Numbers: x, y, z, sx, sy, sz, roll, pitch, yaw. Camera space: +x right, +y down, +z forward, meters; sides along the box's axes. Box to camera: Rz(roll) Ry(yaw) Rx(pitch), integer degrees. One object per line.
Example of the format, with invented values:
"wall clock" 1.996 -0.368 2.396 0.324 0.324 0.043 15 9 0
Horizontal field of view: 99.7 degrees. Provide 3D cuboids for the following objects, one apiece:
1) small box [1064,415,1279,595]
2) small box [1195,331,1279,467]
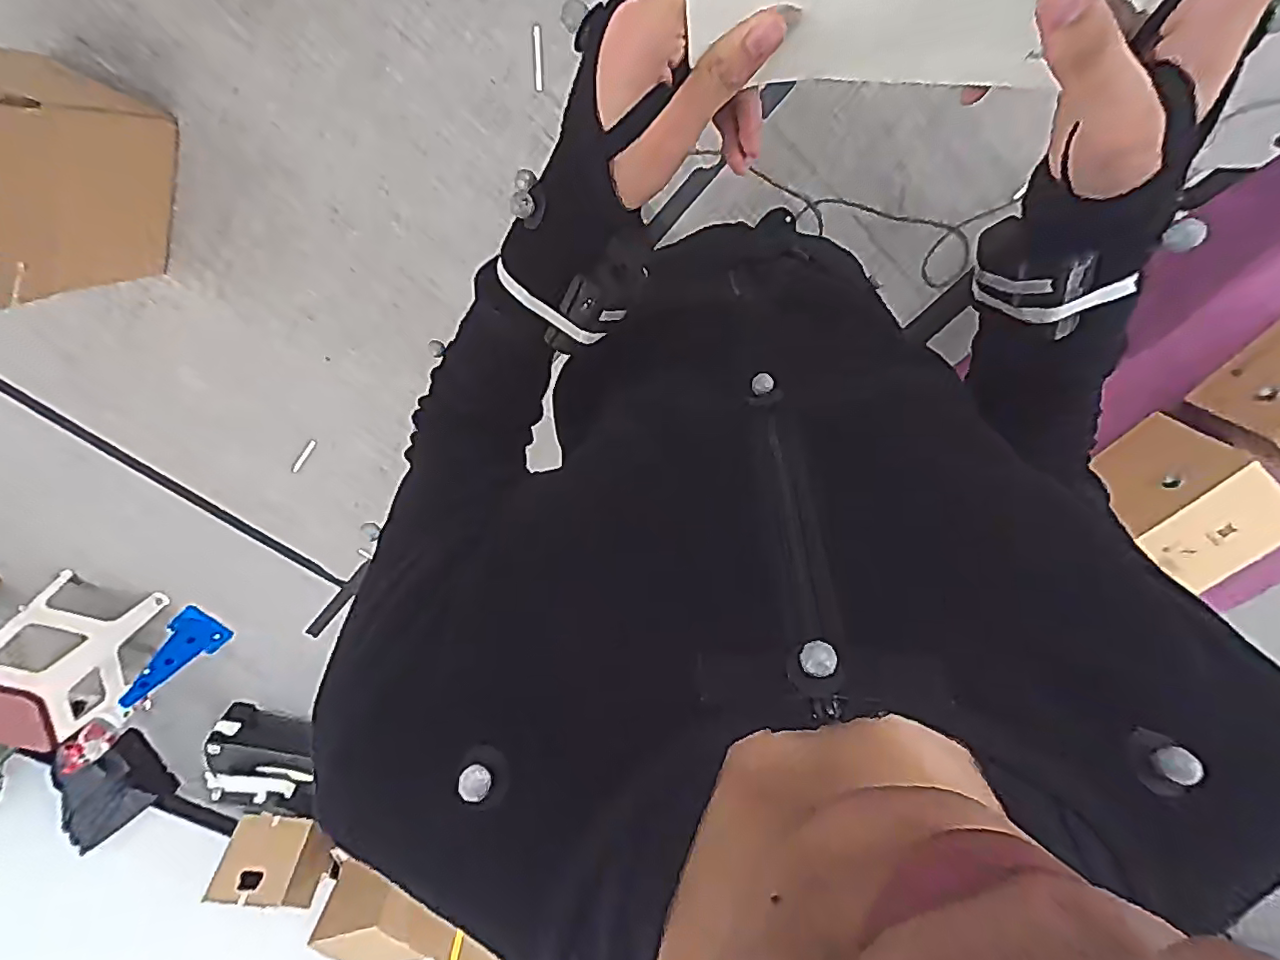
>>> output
"small box" 0.811 0.032 0.820 0.168 0.176 0.179 34 116 -15
"small box" 0.943 -0.103 0.739 0.179 0.176 0.168 31 117 -14
